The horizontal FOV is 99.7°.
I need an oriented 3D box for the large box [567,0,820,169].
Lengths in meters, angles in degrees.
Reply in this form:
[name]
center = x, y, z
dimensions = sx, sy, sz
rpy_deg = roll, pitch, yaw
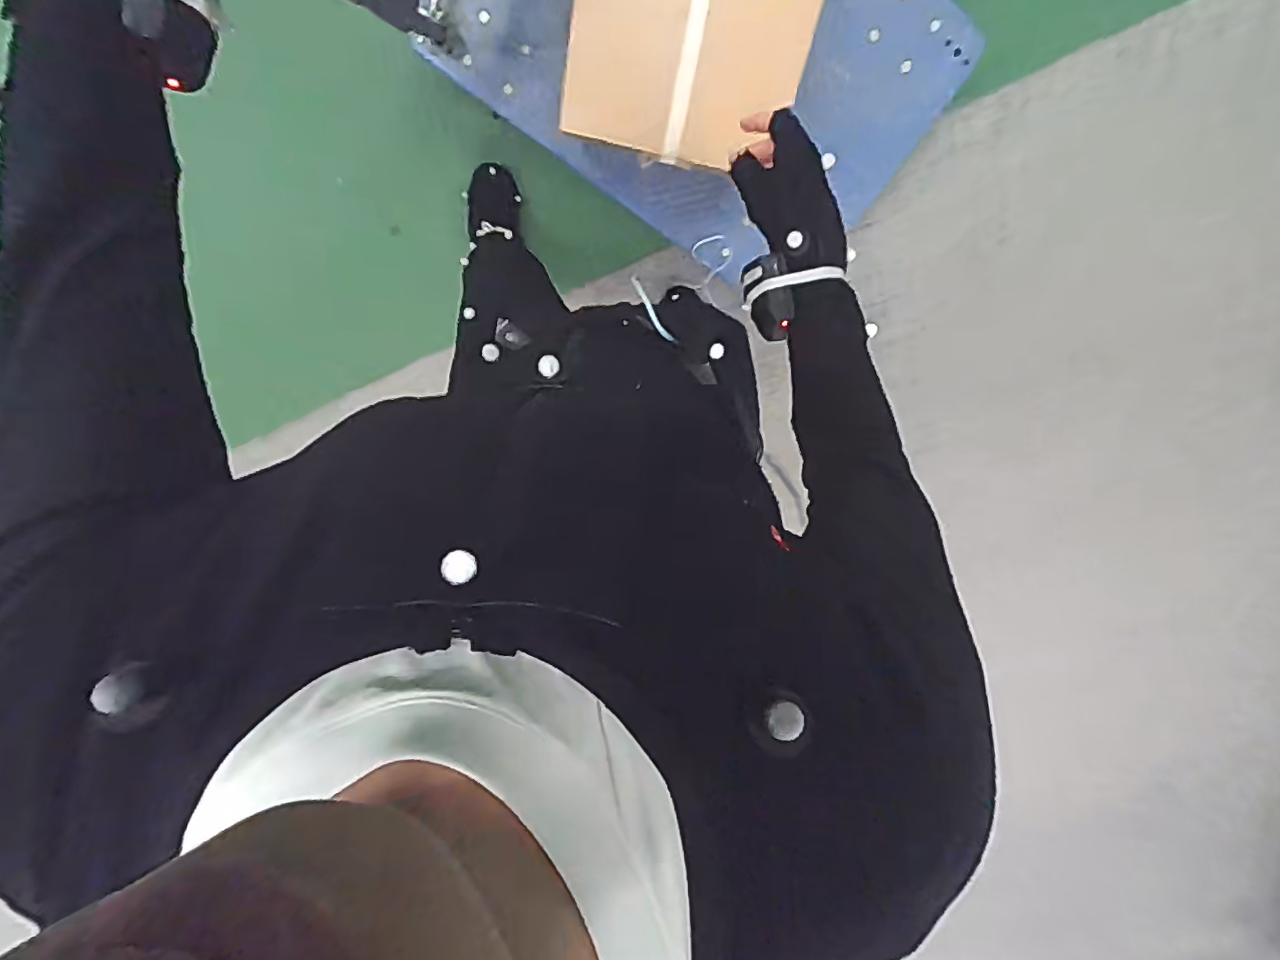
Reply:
[large box]
center = 0.085, -0.721, 0.808
dimensions = 0.320, 0.320, 0.408
rpy_deg = 10, 119, -6
